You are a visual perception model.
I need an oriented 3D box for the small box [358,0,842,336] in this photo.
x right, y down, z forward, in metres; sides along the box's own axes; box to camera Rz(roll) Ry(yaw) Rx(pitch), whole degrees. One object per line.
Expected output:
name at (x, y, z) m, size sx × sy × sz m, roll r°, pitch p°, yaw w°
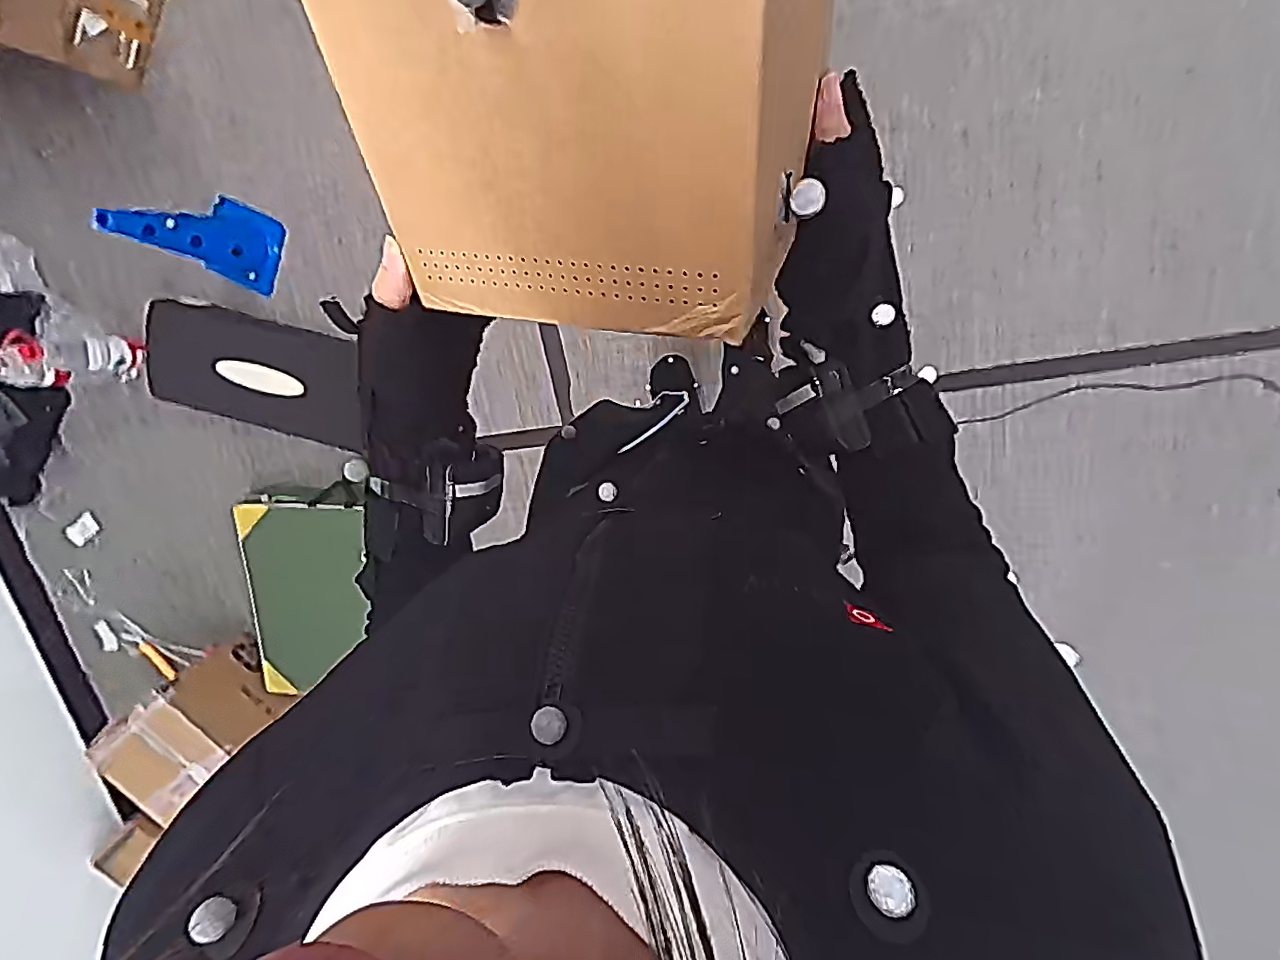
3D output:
small box at (-0.008, -0.191, 0.270) m, size 0.179 × 0.168 × 0.176 m, roll 15°, pitch 140°, yaw 20°
